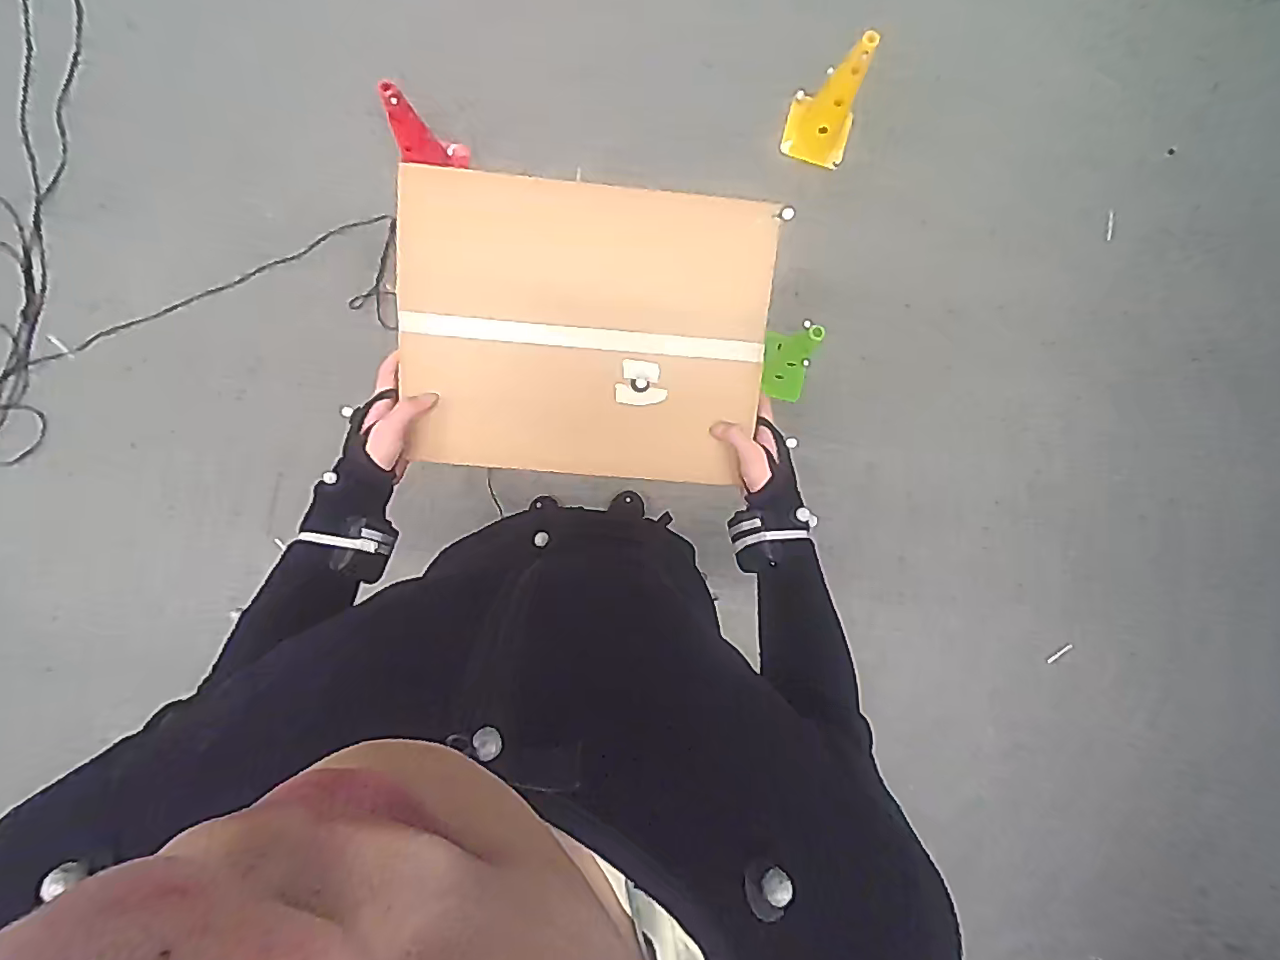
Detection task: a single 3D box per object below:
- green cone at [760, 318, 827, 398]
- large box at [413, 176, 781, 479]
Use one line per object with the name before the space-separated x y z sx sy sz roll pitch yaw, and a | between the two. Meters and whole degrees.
green cone | 0.434 -0.372 1.516 0.200 0.368 0.202 12 87 -4
large box | -0.061 -0.192 0.756 0.408 0.320 0.320 4 103 -4
